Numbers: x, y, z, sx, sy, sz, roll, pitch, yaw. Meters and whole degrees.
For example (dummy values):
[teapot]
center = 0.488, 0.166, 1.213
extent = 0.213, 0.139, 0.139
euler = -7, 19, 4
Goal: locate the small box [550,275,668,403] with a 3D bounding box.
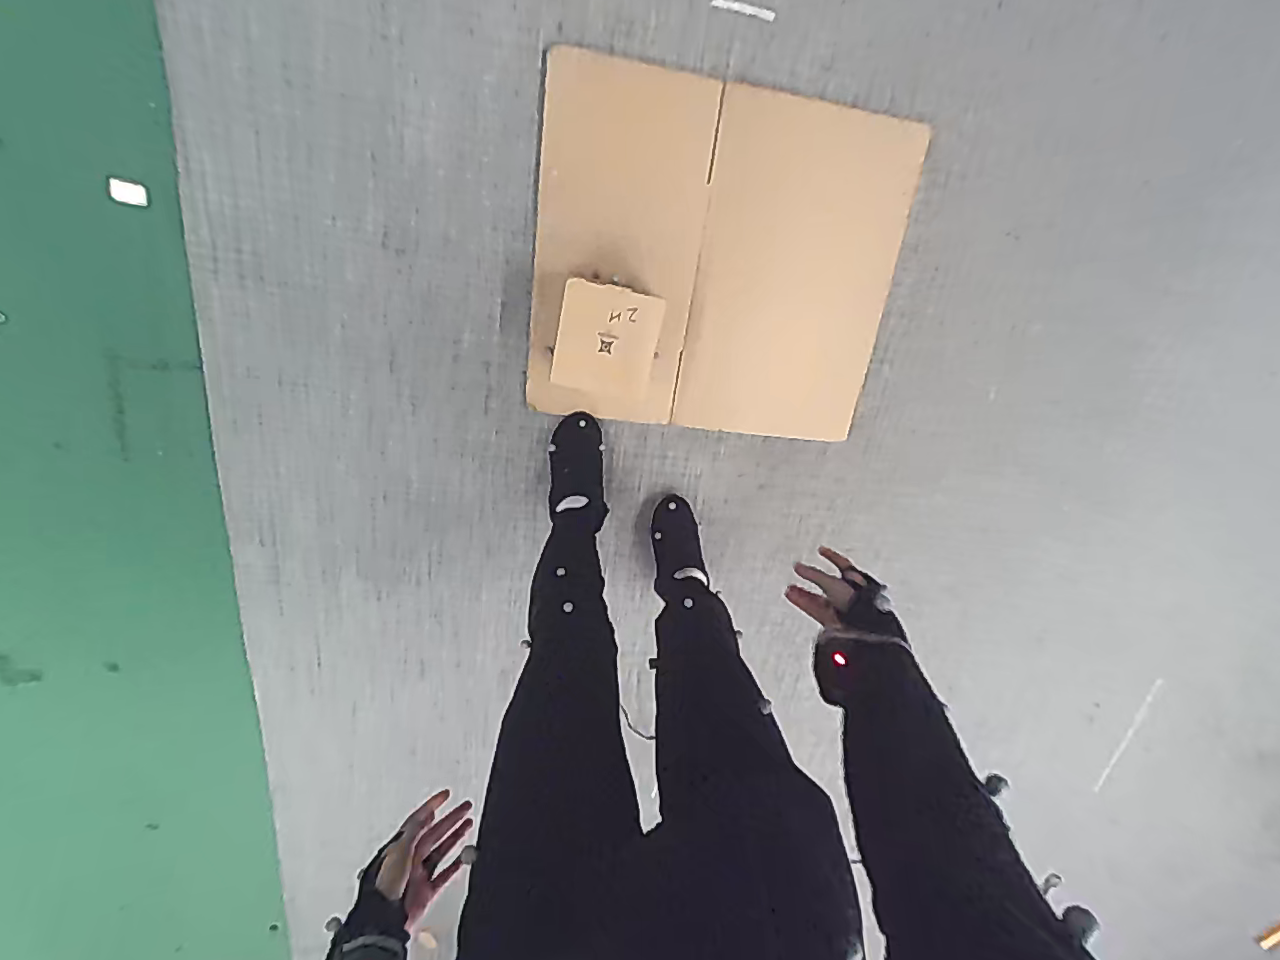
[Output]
[small box]
center = -0.062, -0.254, 0.959
extent = 0.168, 0.176, 0.179
euler = 10, 110, -13
